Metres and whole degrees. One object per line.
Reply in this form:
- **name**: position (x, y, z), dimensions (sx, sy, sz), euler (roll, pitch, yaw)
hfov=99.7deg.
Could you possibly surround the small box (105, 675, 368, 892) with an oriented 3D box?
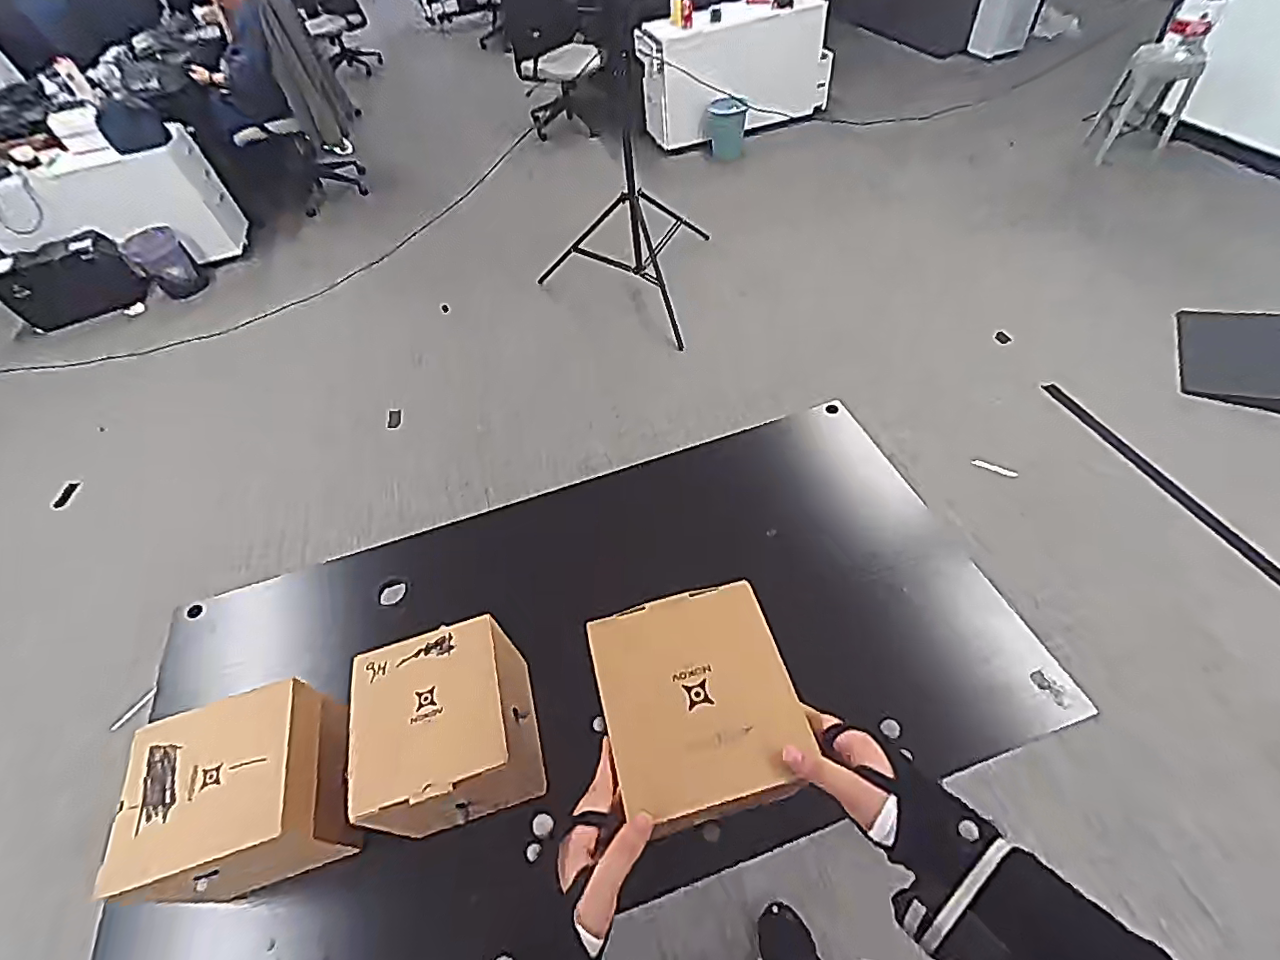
- **small box**: position (-0.447, 0.362, 0.638), dimensions (0.179, 0.176, 0.168), euler (-17, 53, -7)

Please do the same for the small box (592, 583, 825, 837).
- **small box**: position (0.056, 0.233, 0.542), dimensions (0.168, 0.176, 0.179), euler (-14, 55, -6)

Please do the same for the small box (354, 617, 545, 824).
- **small box**: position (-0.224, 0.299, 0.661), dimensions (0.168, 0.176, 0.179), euler (-16, 53, -6)
